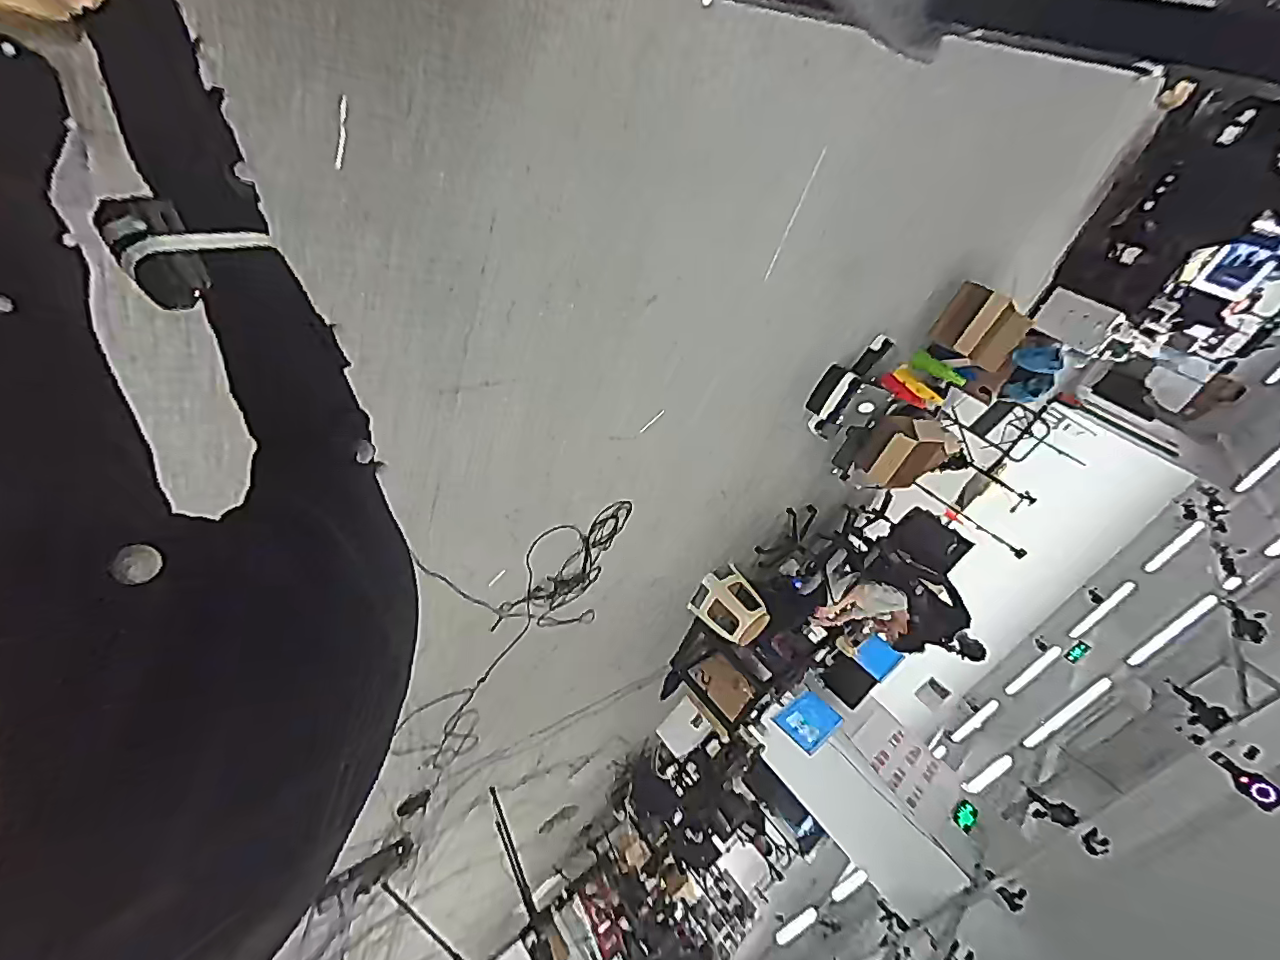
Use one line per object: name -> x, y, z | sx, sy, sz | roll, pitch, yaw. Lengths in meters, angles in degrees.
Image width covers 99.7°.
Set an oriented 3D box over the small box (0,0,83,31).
small box -> -0.398, -0.350, 0.252 | 0.168, 0.176, 0.179 | -13, 124, -40
